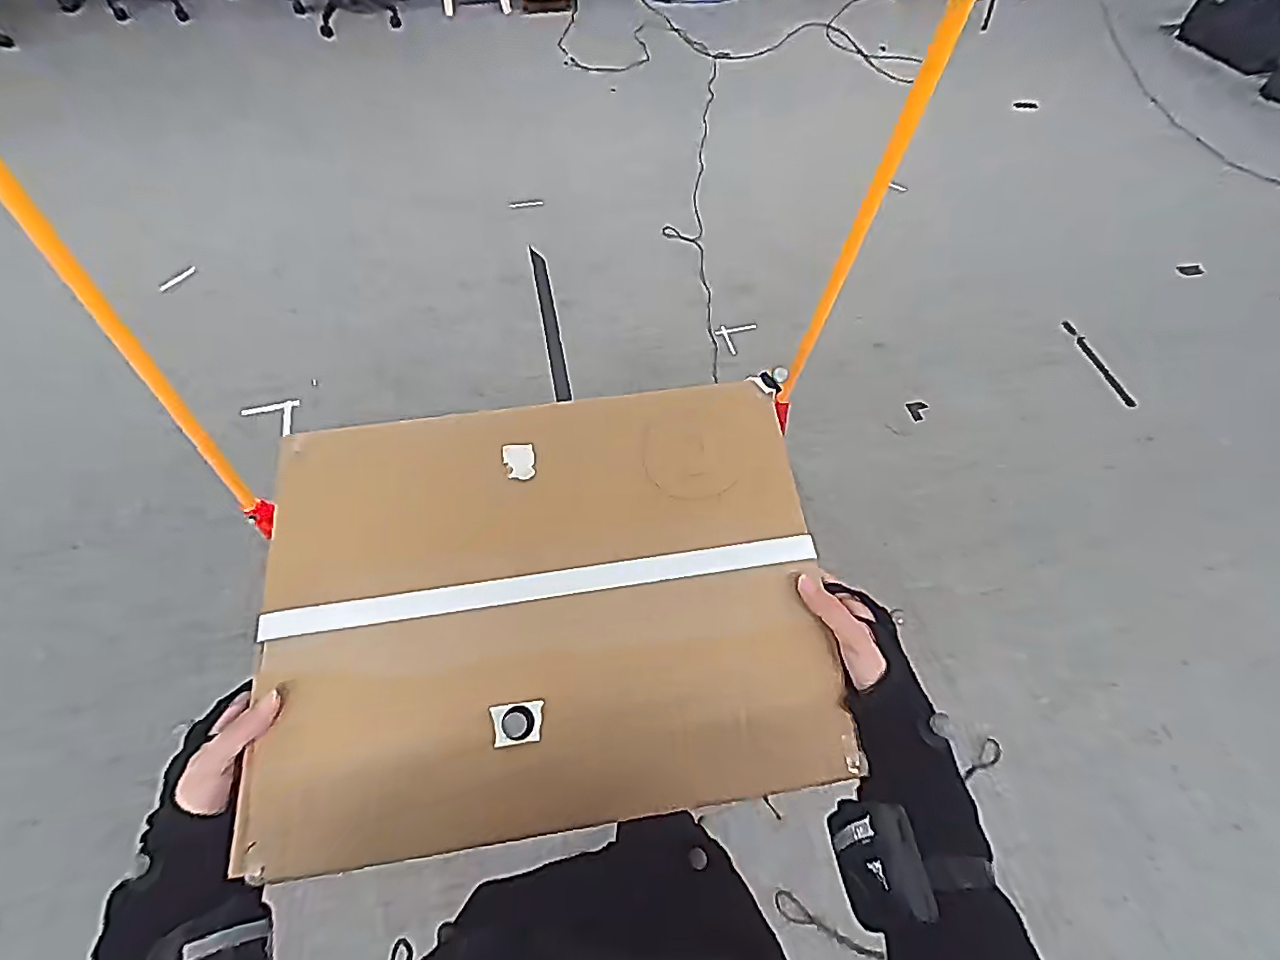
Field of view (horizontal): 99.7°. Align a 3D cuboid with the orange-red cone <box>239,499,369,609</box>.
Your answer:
[{"bbox_3d":[-0.829,0.145,1.289,0.199,0.360,0.198,-19,61,-11],"label":"orange-red cone"}]
